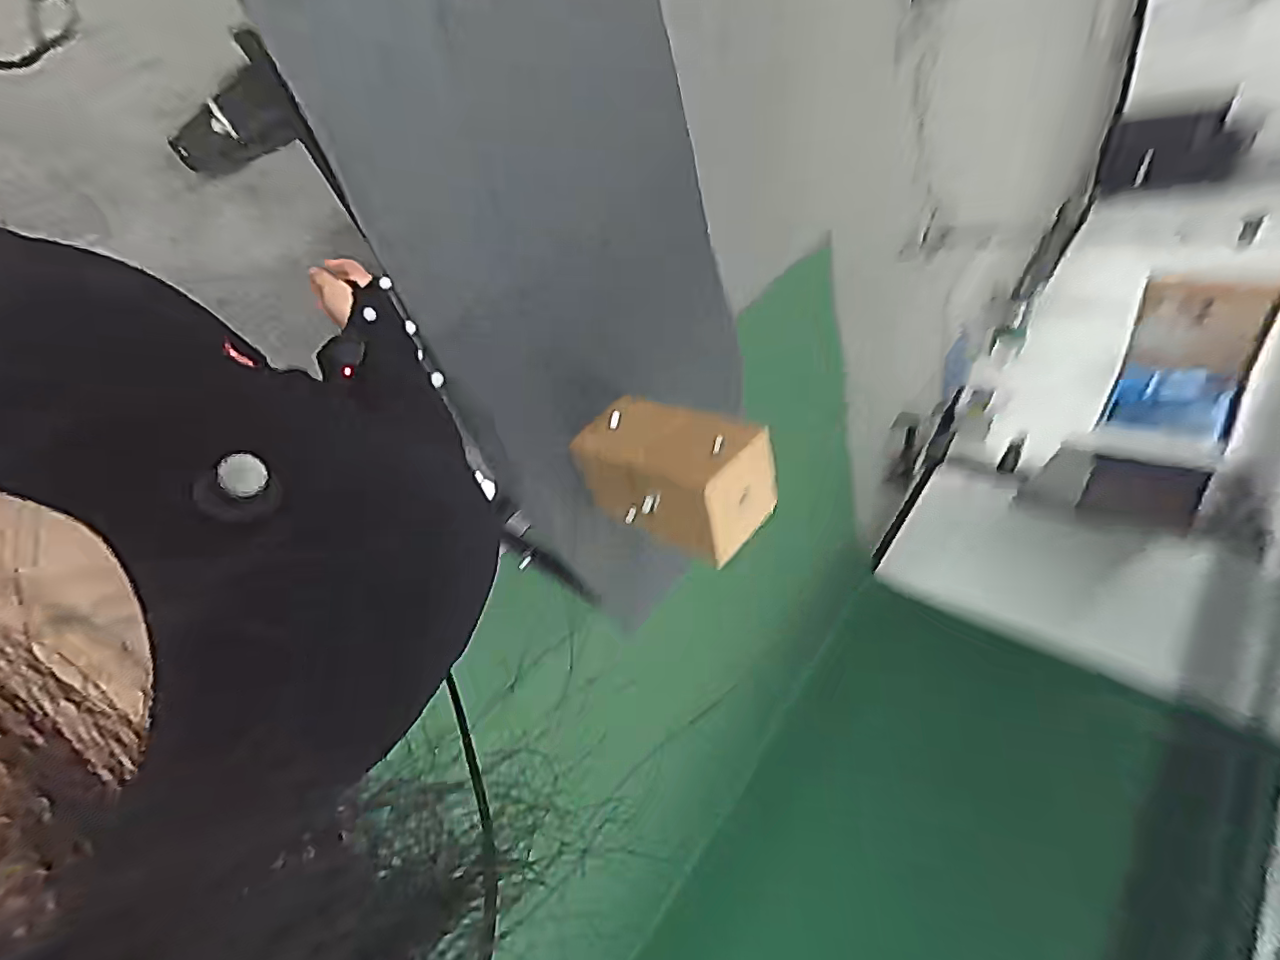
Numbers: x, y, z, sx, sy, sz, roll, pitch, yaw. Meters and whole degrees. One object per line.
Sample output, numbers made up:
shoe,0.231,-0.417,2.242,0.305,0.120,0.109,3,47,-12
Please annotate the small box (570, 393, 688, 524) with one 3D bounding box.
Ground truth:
small box,-0.003,-0.046,1.040,0.168,0.176,0.179,-45,134,-28

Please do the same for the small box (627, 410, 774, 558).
small box,0.107,-0.004,0.928,0.179,0.176,0.168,-40,130,-29
